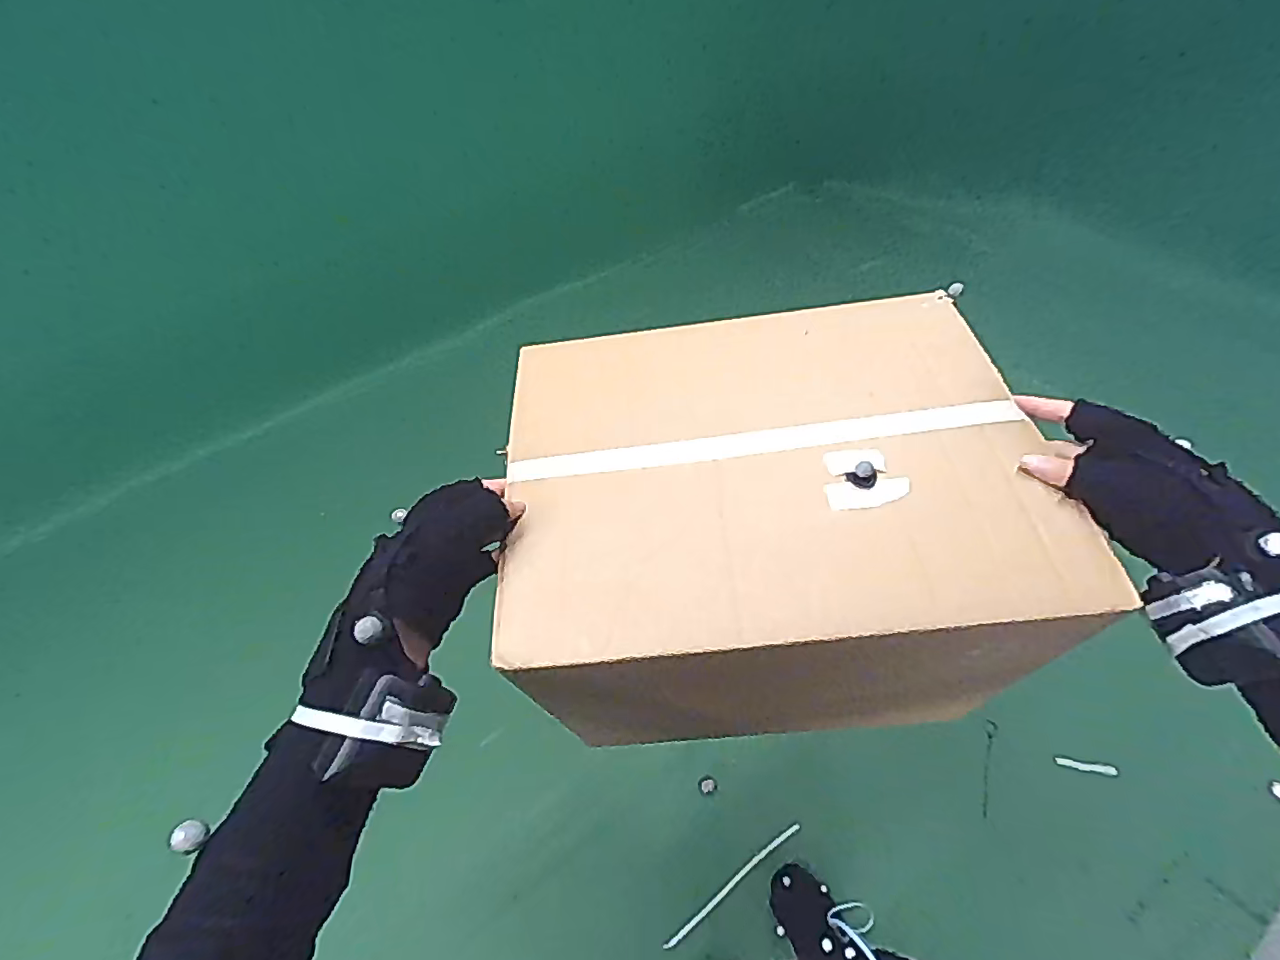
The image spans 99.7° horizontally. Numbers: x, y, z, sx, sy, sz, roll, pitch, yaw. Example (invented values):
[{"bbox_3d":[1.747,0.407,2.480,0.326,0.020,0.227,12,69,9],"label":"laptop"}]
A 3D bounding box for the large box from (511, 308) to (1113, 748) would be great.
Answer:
[{"bbox_3d":[0.115,0.068,0.560,0.408,0.320,0.320,-6,55,4],"label":"large box"}]
